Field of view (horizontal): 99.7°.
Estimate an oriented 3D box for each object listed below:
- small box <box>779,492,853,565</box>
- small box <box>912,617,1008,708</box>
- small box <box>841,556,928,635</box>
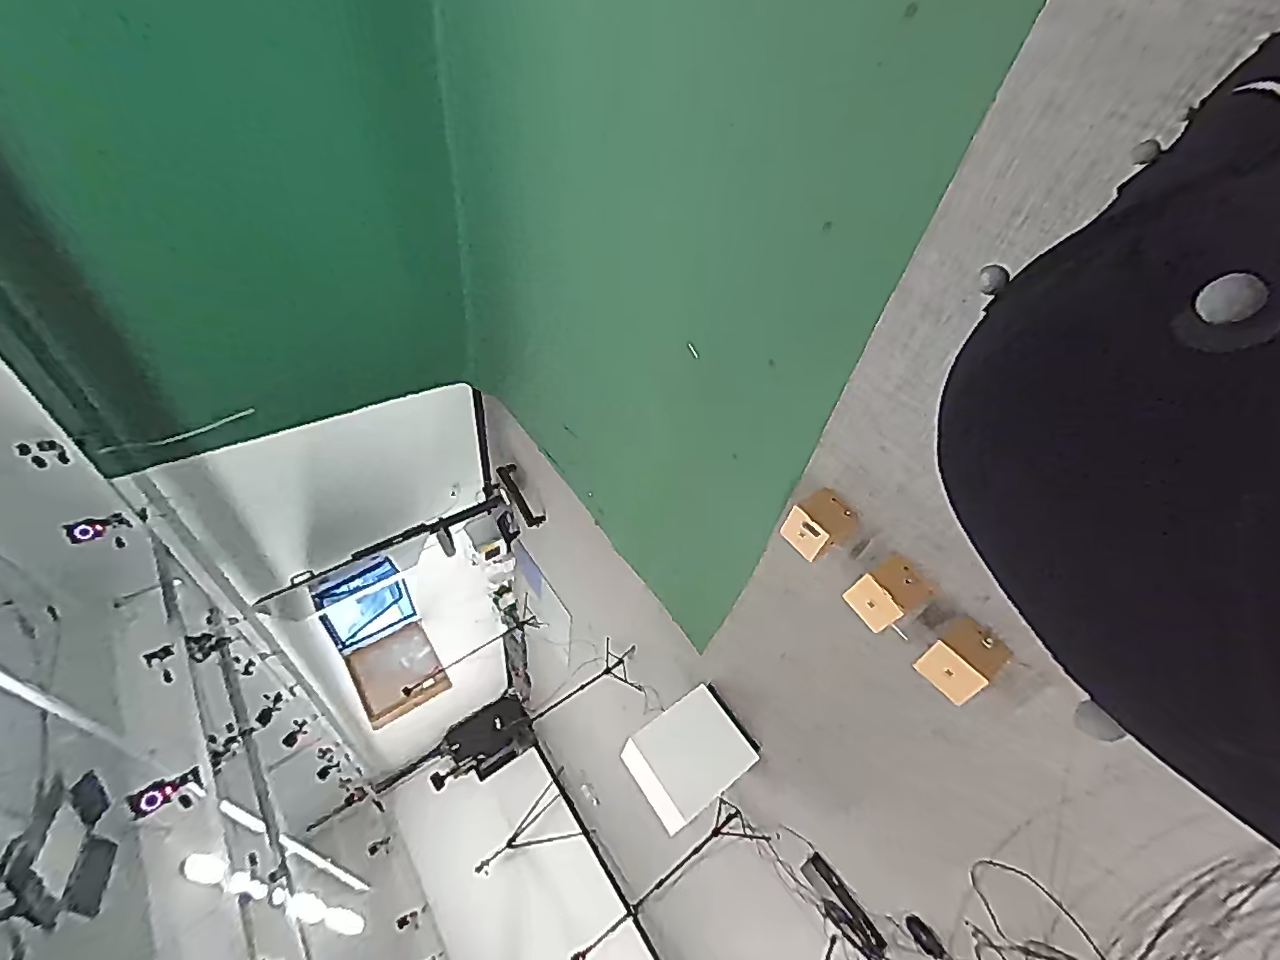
[{"bbox_3d":[0.647,0.172,1.978,0.168,0.176,0.179,49,147,28],"label":"small box"},{"bbox_3d":[1.001,0.566,1.687,0.168,0.176,0.179,44,142,31],"label":"small box"},{"bbox_3d":[0.832,0.391,1.836,0.168,0.176,0.179,51,147,24],"label":"small box"}]
